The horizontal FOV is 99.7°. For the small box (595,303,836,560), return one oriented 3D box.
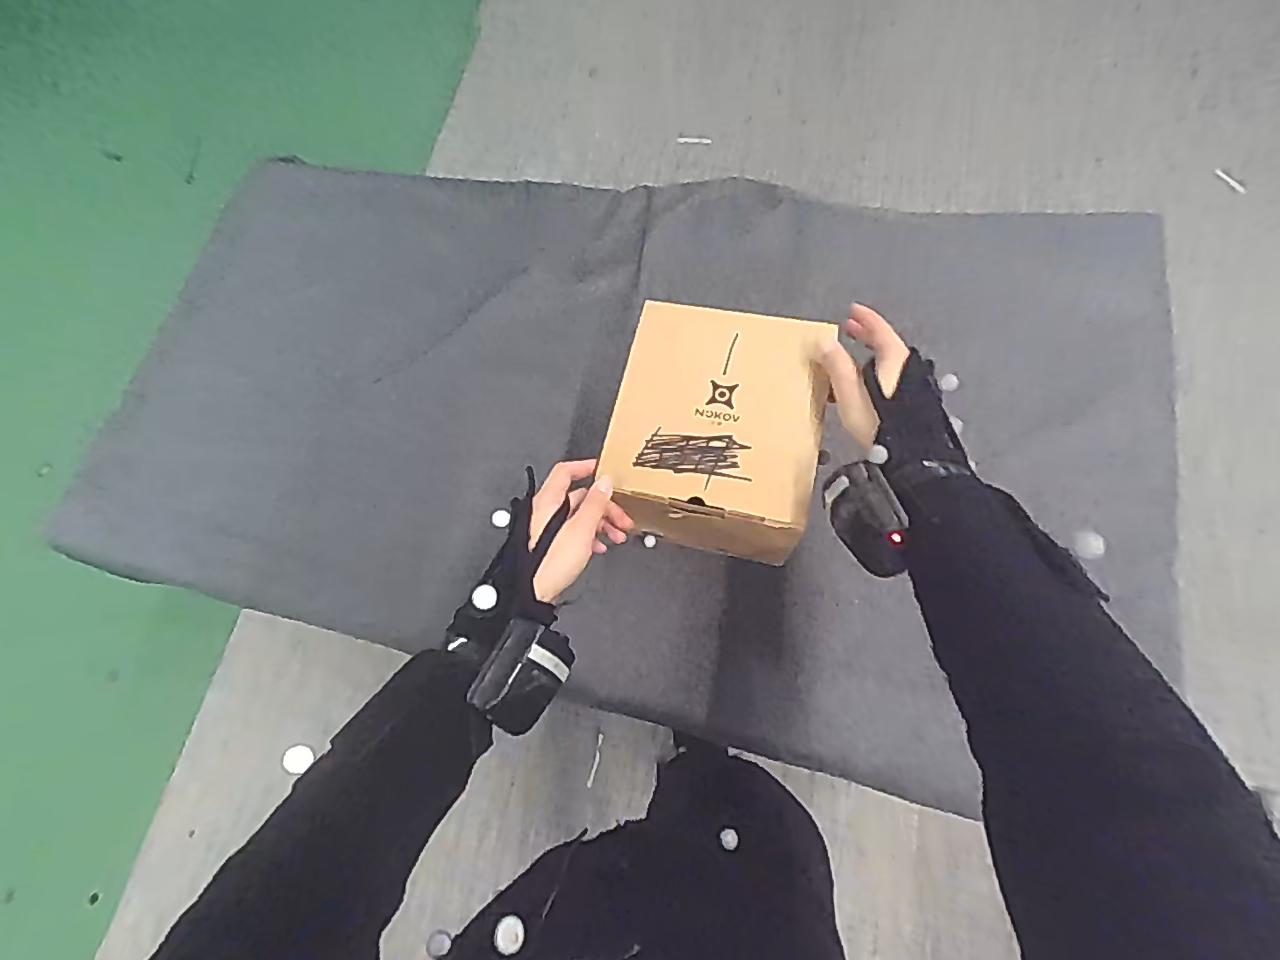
[{"bbox_3d":[0.072,-0.034,0.507,0.168,0.176,0.179,11,73,11],"label":"small box"}]
